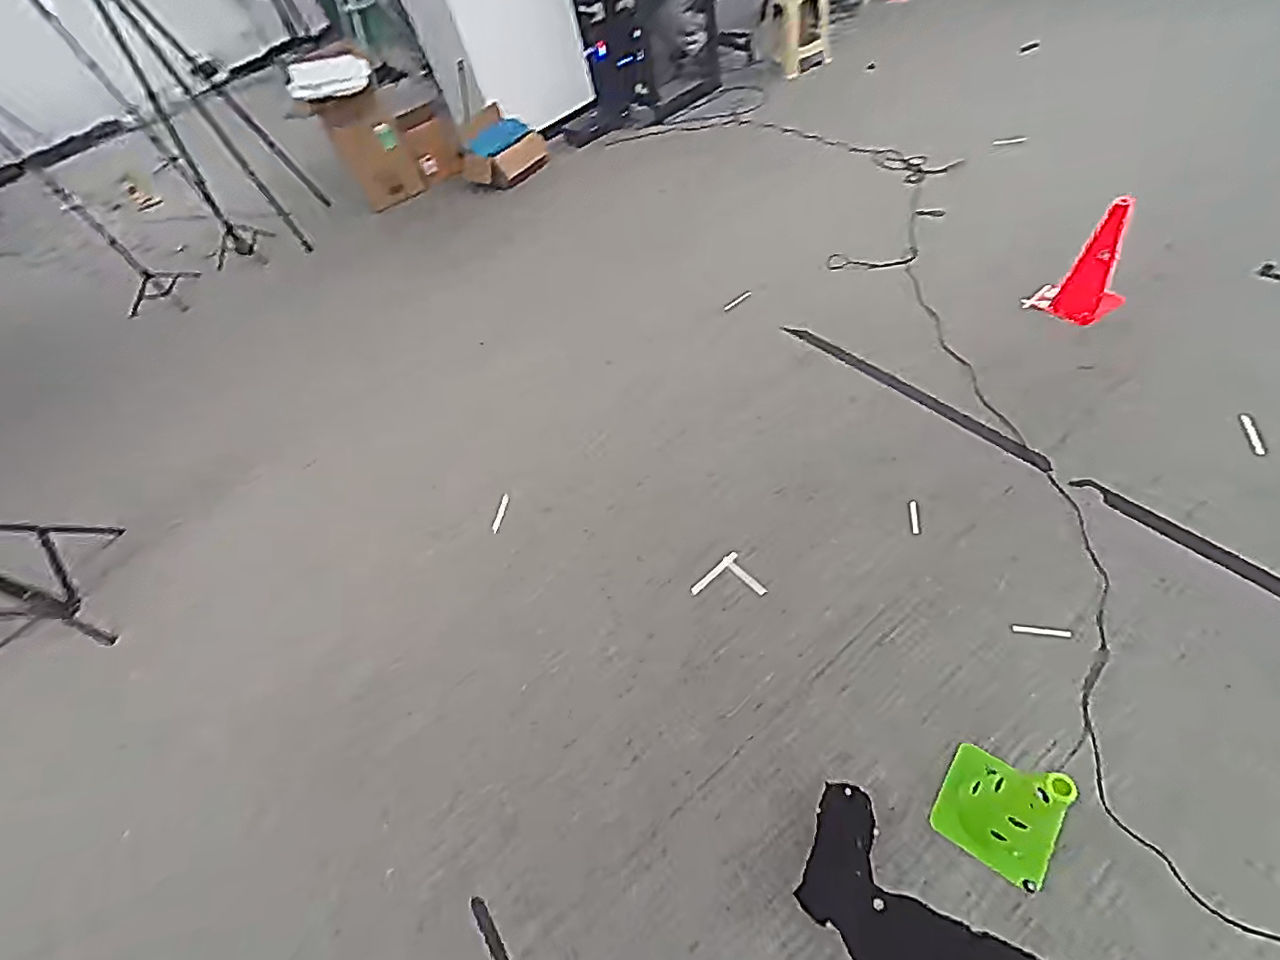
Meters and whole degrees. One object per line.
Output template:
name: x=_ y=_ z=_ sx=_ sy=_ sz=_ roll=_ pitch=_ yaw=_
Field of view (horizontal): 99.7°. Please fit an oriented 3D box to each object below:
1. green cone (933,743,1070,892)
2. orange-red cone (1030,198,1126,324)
green cone: x=0.685 y=0.566 z=0.962 sx=0.202 sy=0.368 sz=0.200 roll=24 pitch=63 yaw=32
orange-red cone: x=1.458 y=-0.721 z=1.735 sx=0.198 sy=0.360 sz=0.199 roll=-32 pitch=52 yaw=-8
